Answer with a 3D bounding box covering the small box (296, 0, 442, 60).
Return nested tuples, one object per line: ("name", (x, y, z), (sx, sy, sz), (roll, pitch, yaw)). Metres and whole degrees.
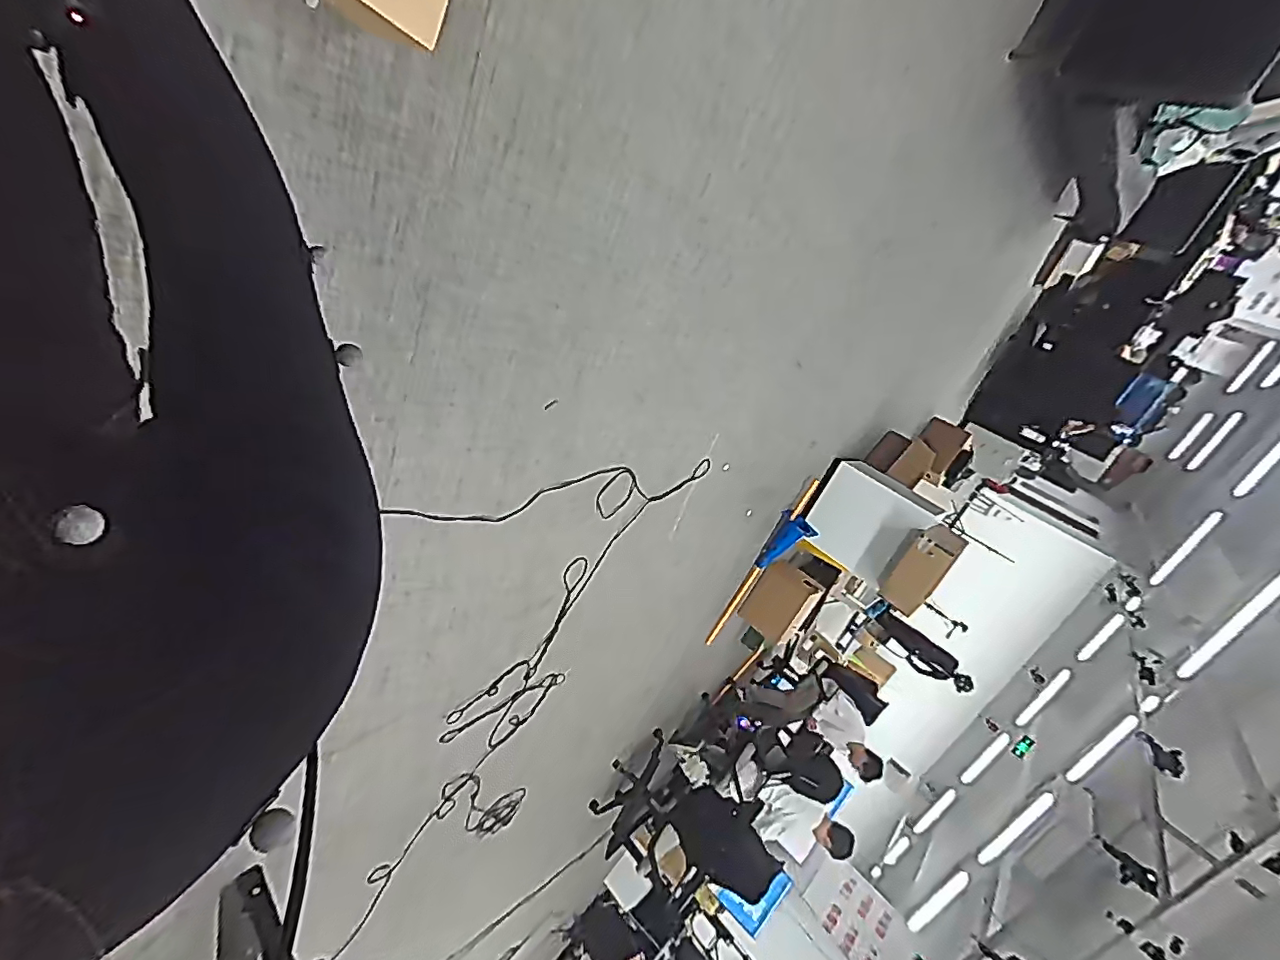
("small box", (-0.315, -0.598, 0.570), (0.168, 0.176, 0.179), (1, 122, -54))
